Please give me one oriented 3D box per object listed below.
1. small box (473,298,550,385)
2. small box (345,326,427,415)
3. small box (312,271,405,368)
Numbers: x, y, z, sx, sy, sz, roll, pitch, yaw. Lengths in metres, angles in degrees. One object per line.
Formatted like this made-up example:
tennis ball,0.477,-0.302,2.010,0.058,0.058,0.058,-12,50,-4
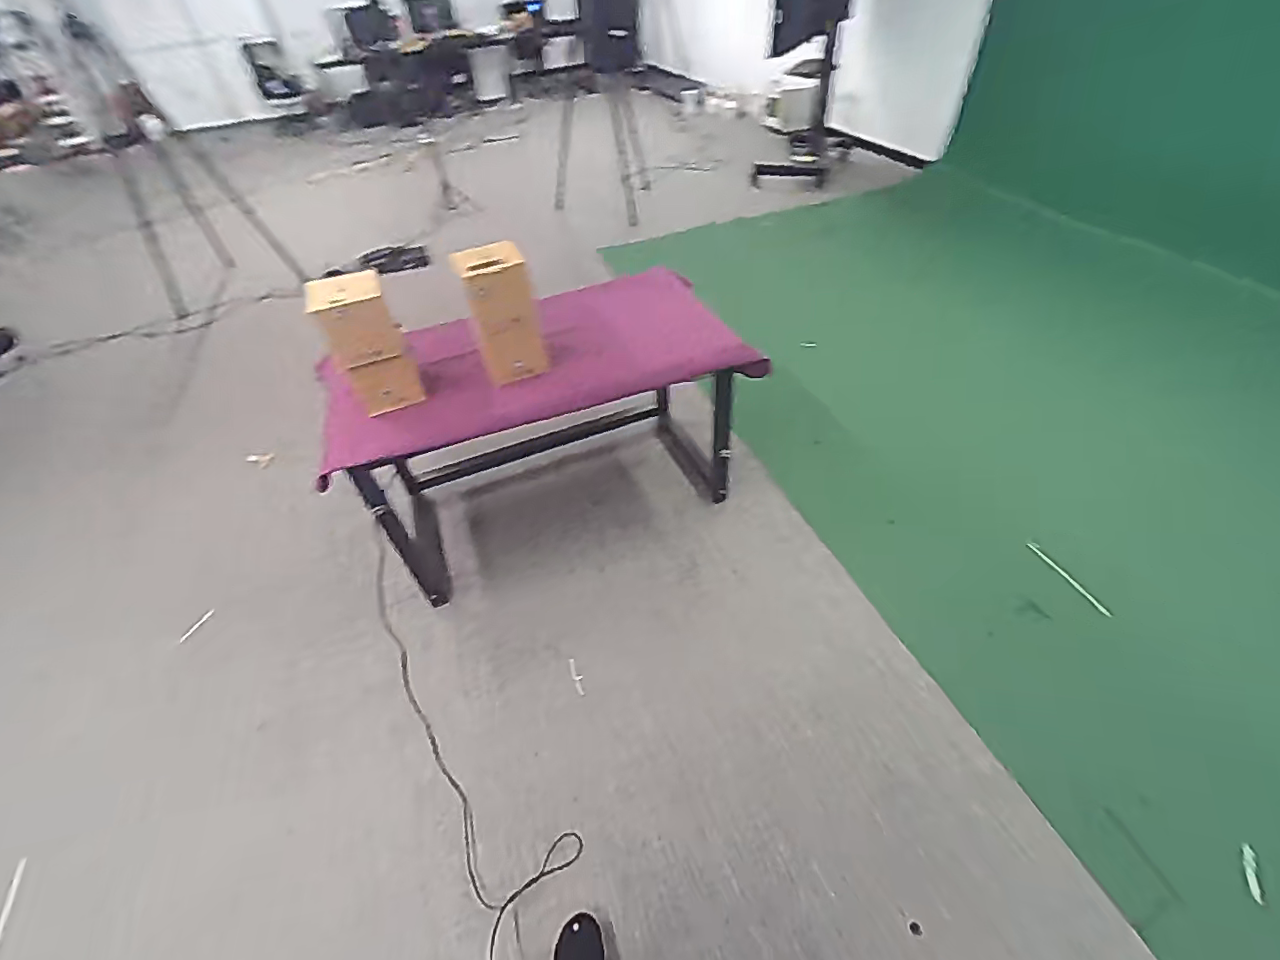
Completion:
small box,-0.379,-0.409,1.596,0.168,0.176,0.179,-20,47,-13
small box,-0.725,-0.313,1.538,0.168,0.176,0.179,-21,48,-16
small box,-0.731,-0.419,1.412,0.168,0.176,0.179,-20,47,-14
